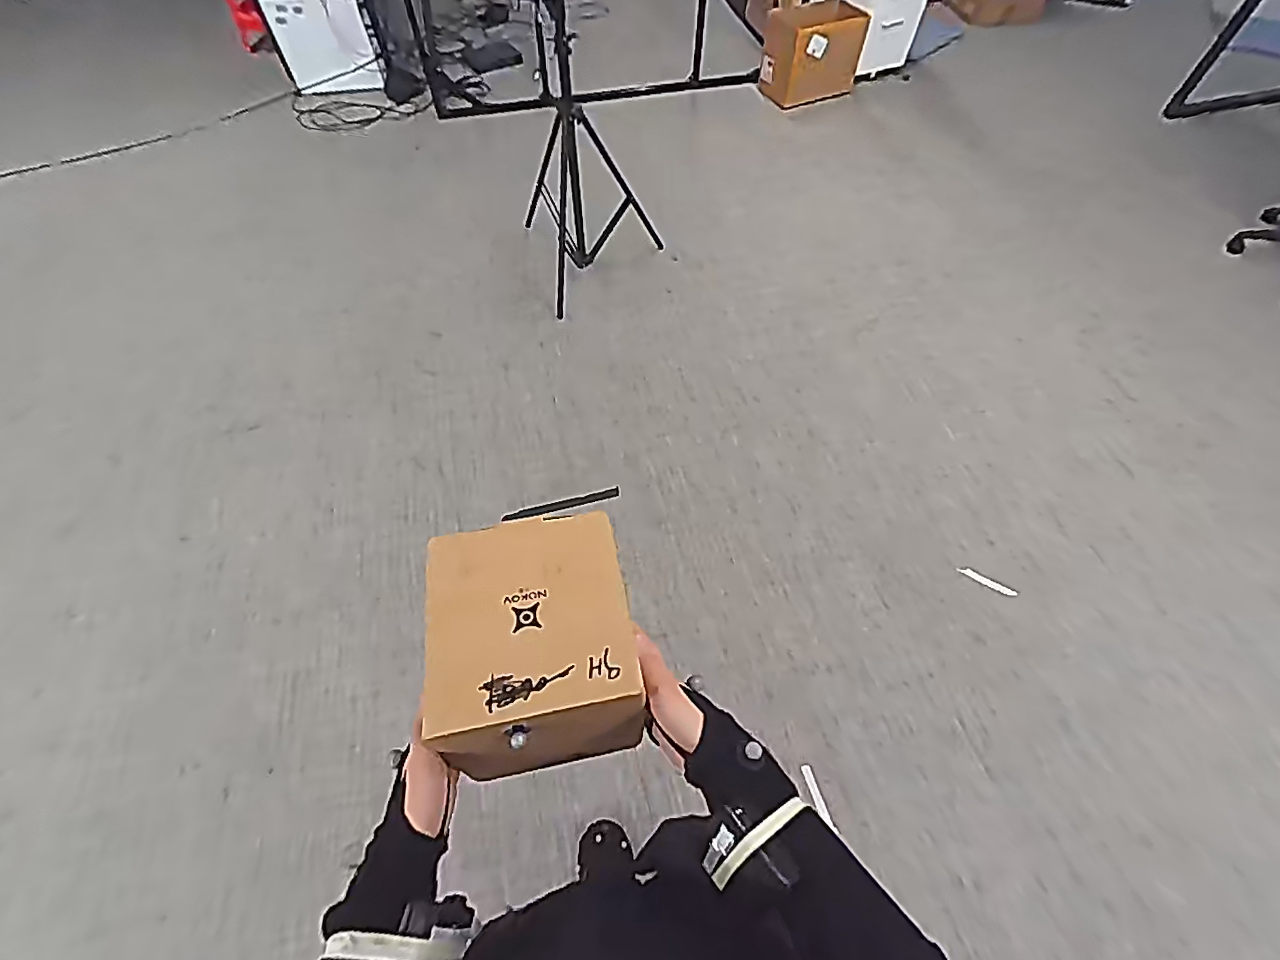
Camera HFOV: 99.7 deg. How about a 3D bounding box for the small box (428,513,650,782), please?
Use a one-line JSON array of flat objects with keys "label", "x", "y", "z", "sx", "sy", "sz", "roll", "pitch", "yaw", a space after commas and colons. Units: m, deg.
[{"label": "small box", "x": -0.090, "y": 0.158, "z": 0.510, "sx": 0.168, "sy": 0.176, "sz": 0.179, "roll": -9, "pitch": 52, "yaw": -8}]
